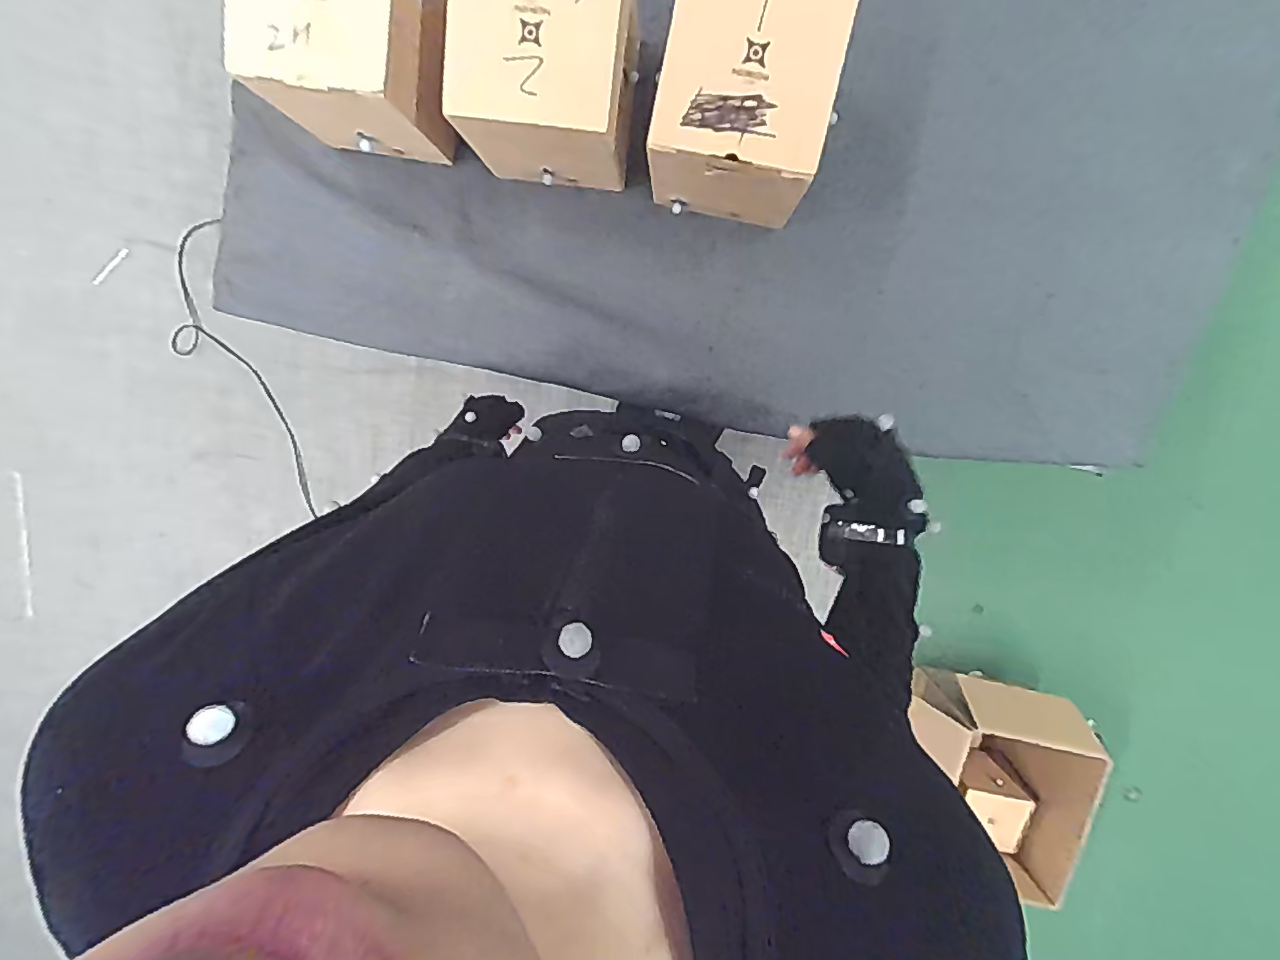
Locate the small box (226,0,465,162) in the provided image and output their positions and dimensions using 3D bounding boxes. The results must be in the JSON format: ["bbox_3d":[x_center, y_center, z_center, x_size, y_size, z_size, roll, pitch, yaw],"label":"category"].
[{"bbox_3d":[-0.306,-0.487,0.593,0.168,0.176,0.179,10,100,2],"label":"small box"}]
